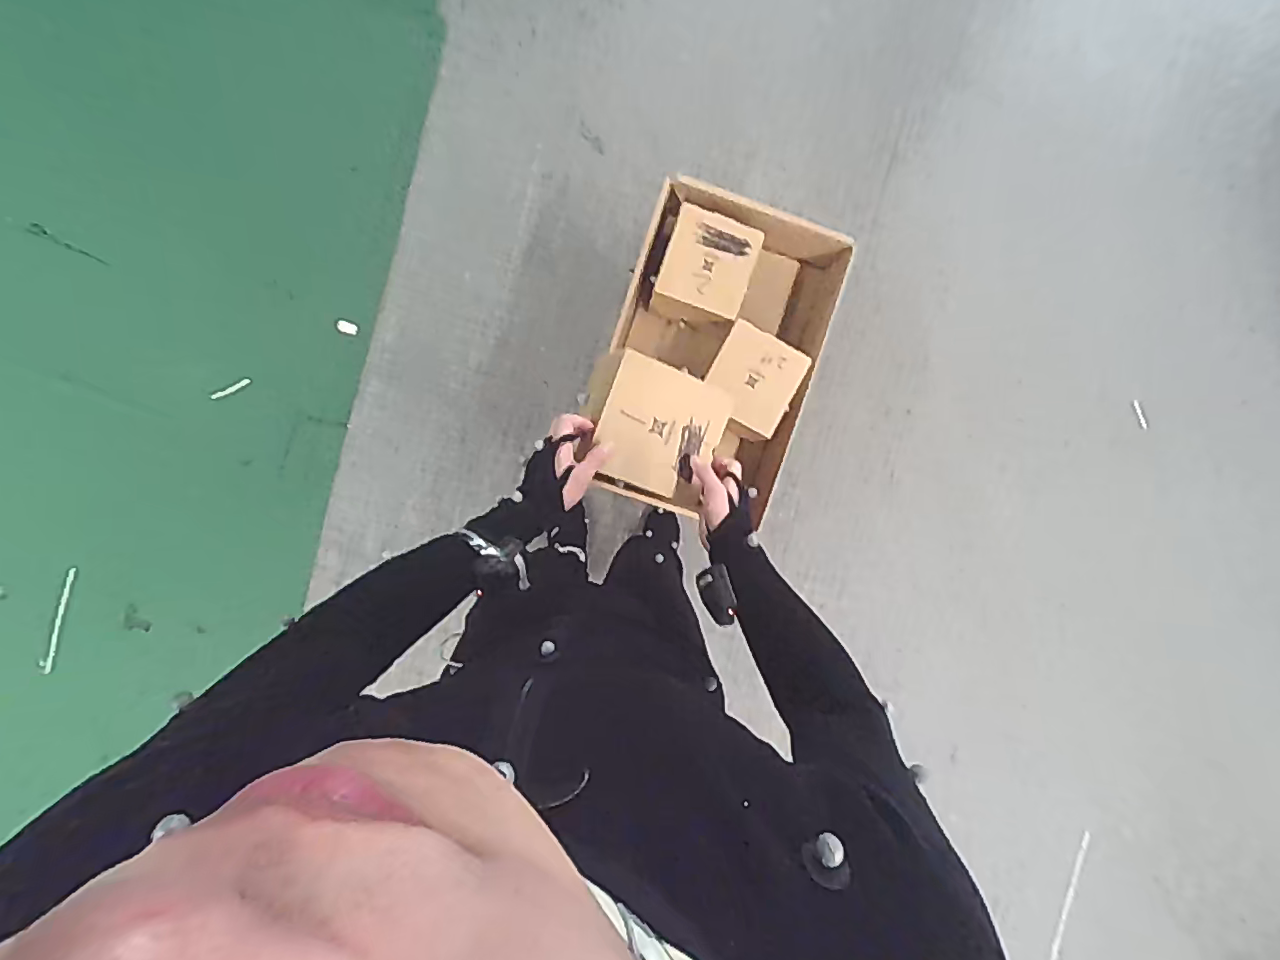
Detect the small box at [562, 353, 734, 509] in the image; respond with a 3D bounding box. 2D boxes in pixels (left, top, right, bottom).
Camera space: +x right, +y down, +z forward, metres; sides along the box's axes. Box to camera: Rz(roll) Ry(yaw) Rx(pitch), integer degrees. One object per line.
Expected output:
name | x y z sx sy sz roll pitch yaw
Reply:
small box | 0.002 -0.074 0.792 0.179 0.176 0.168 20 92 -19
